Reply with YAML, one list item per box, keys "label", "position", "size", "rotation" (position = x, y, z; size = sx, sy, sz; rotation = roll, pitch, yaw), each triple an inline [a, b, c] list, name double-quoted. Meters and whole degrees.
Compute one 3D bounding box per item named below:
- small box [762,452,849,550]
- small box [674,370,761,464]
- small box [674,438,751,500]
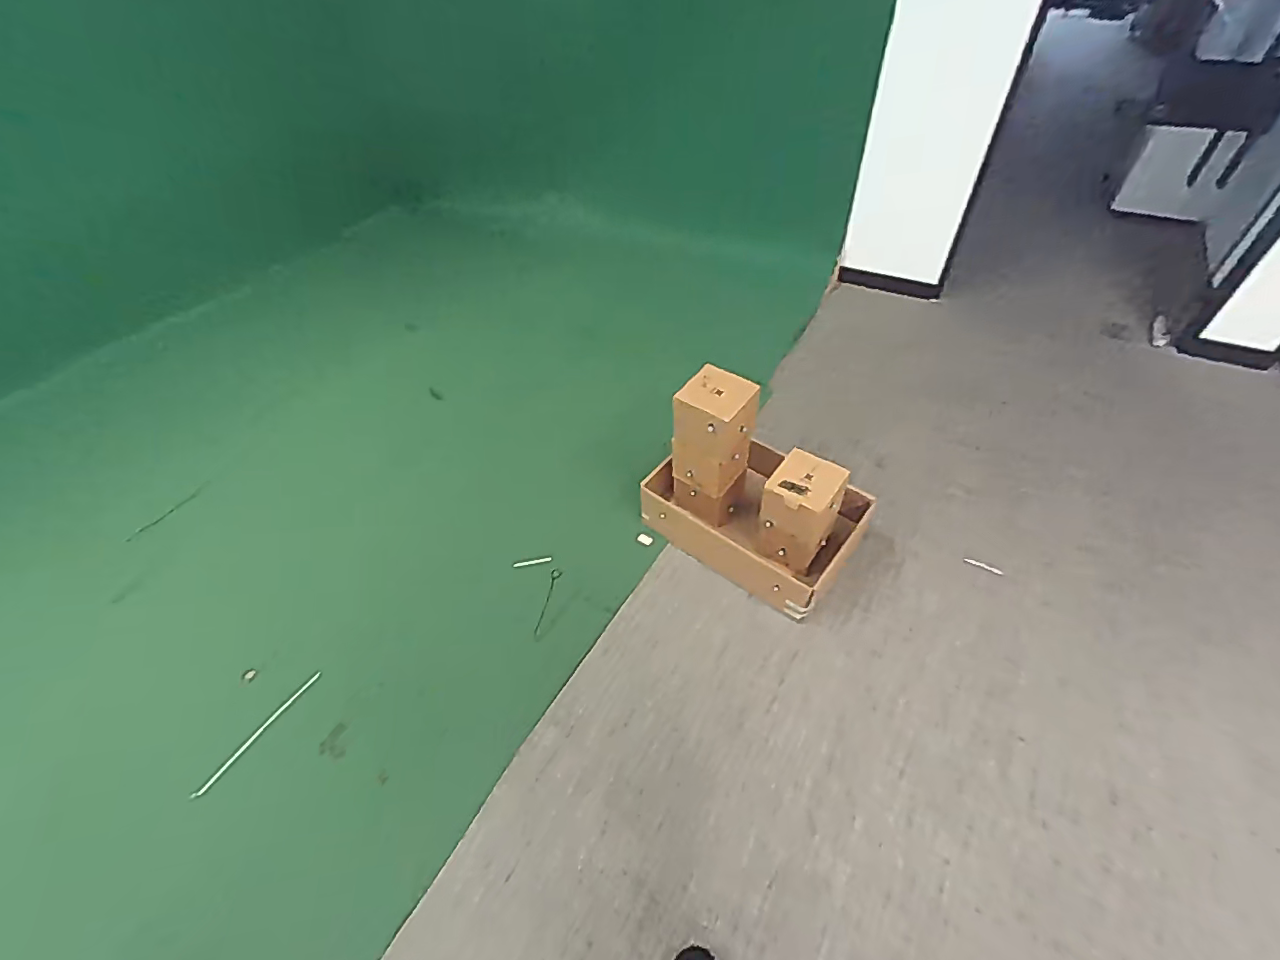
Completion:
- label: "small box"
  position: [0.450, 0.062, 1.490]
  size: [0.168, 0.176, 0.179]
  rotation: [28, 57, 27]
- label: "small box"
  position: [0.212, -0.170, 1.502]
  size: [0.179, 0.176, 0.168]
  rotation: [29, 58, 26]
- label: "small box"
  position: [0.216, -0.073, 1.636]
  size: [0.168, 0.176, 0.179]
  rotation: [30, 60, 27]
